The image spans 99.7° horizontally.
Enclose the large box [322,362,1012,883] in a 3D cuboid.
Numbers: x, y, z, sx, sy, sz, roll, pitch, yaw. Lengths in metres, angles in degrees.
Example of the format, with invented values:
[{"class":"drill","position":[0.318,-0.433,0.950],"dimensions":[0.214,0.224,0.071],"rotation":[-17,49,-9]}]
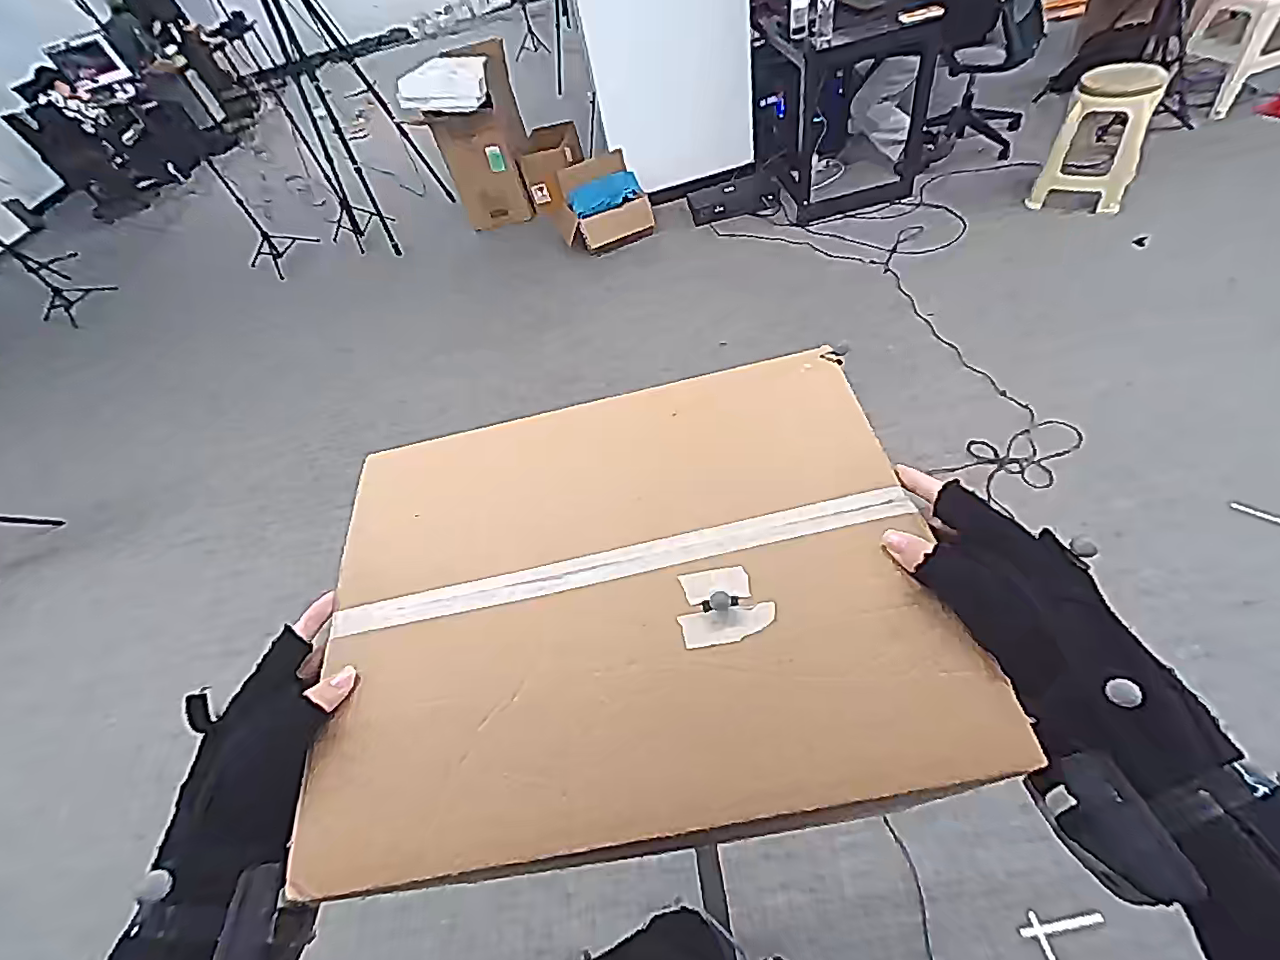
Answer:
[{"class":"large box","position":[0.011,0.147,0.505],"dimensions":[0.408,0.320,0.320],"rotation":[-12,55,3]}]
